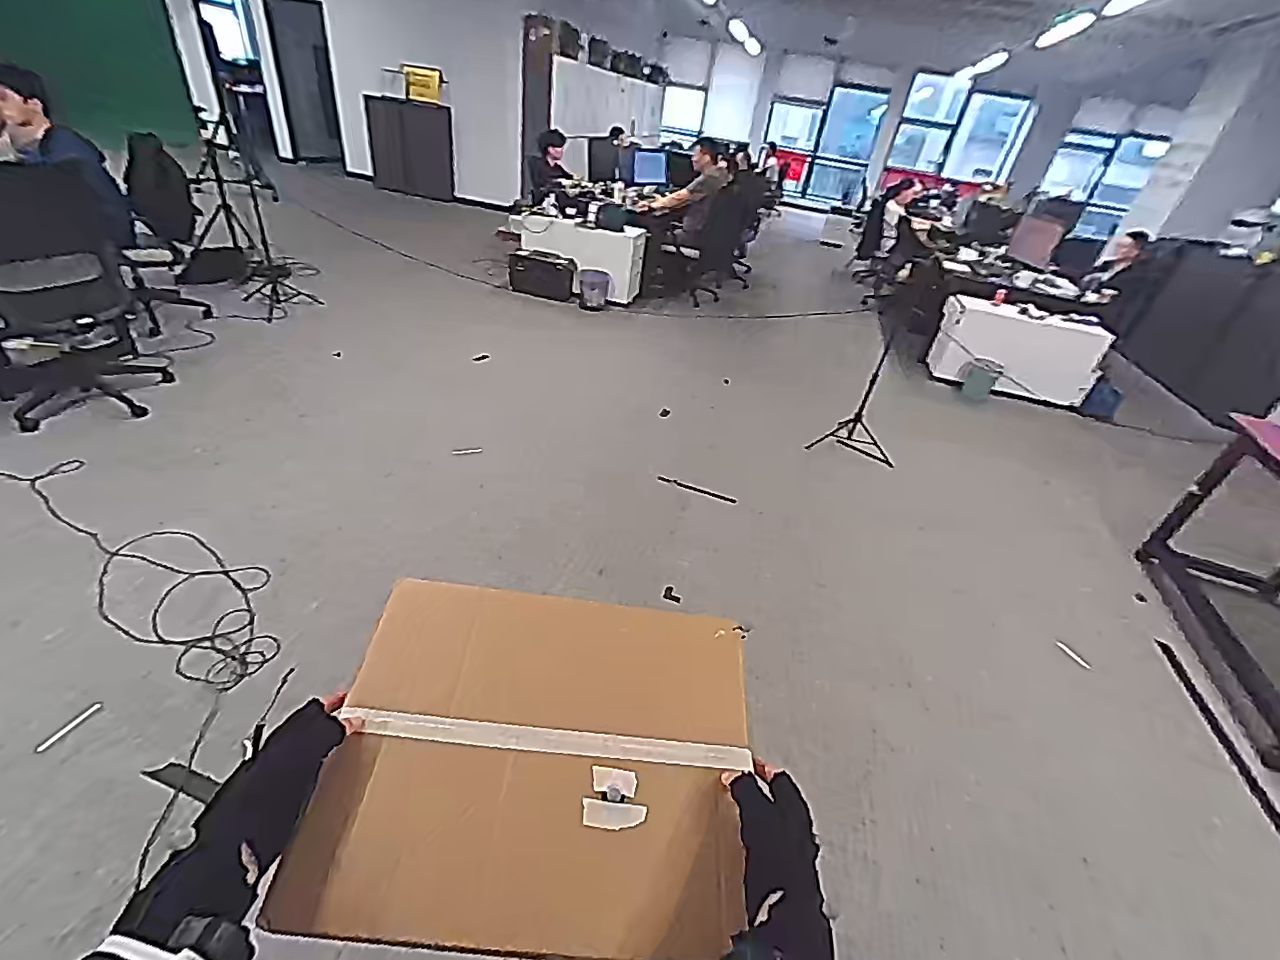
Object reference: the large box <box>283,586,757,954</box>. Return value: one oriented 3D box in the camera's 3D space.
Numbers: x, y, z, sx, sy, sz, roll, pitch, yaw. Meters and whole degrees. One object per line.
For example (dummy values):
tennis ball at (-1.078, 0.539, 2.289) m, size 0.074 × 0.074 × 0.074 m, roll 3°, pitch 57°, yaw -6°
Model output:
large box at (-0.111, 0.360, 0.657) m, size 0.408 × 0.320 × 0.320 m, roll 8°, pitch 48°, yaw -5°
